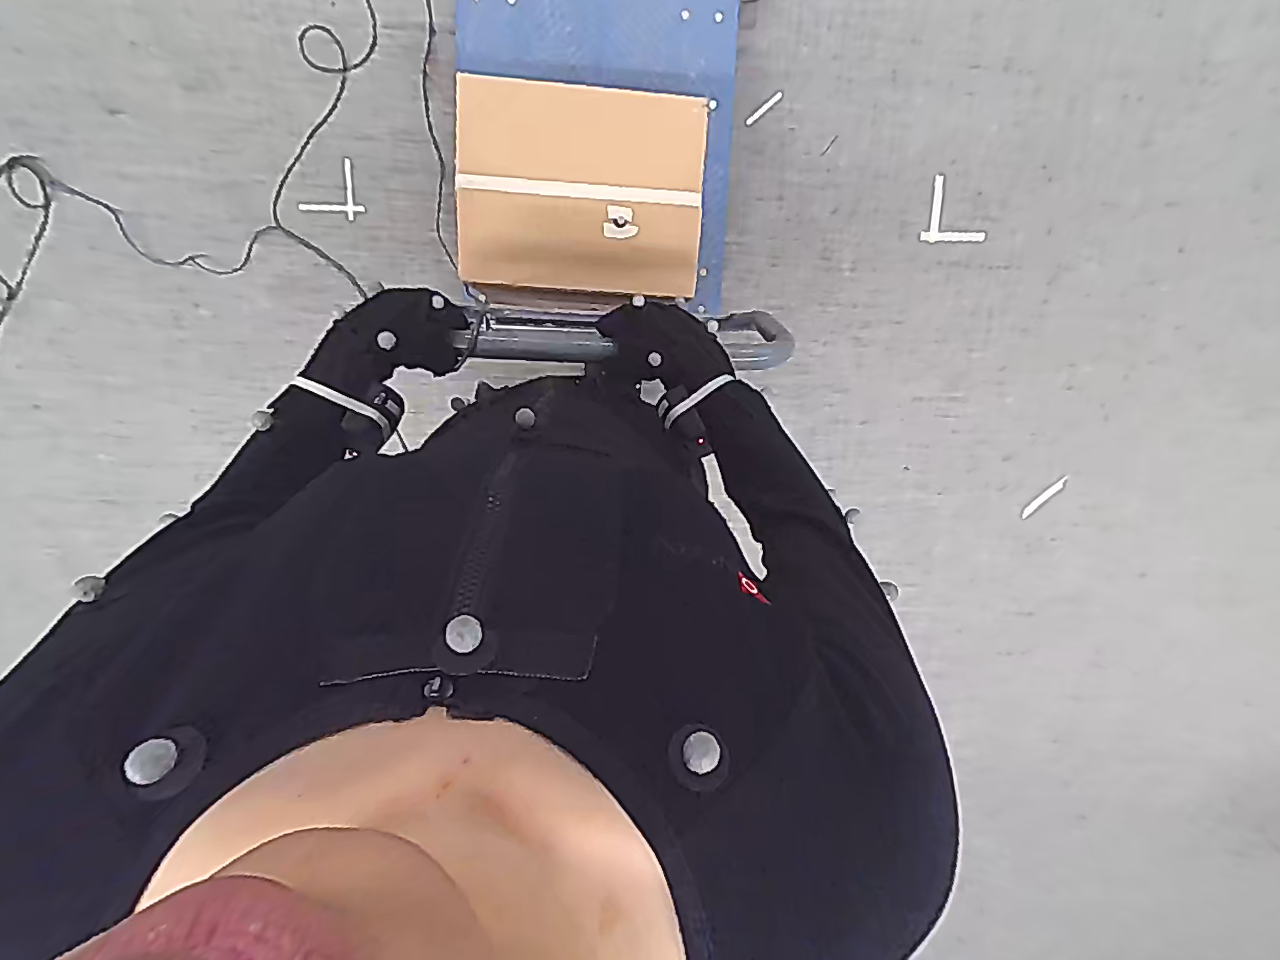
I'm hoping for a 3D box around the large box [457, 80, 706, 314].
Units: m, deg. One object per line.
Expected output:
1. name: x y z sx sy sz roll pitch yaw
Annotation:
1. large box: -0.109 -0.502 1.037 0.408 0.320 0.320 2 102 -5
